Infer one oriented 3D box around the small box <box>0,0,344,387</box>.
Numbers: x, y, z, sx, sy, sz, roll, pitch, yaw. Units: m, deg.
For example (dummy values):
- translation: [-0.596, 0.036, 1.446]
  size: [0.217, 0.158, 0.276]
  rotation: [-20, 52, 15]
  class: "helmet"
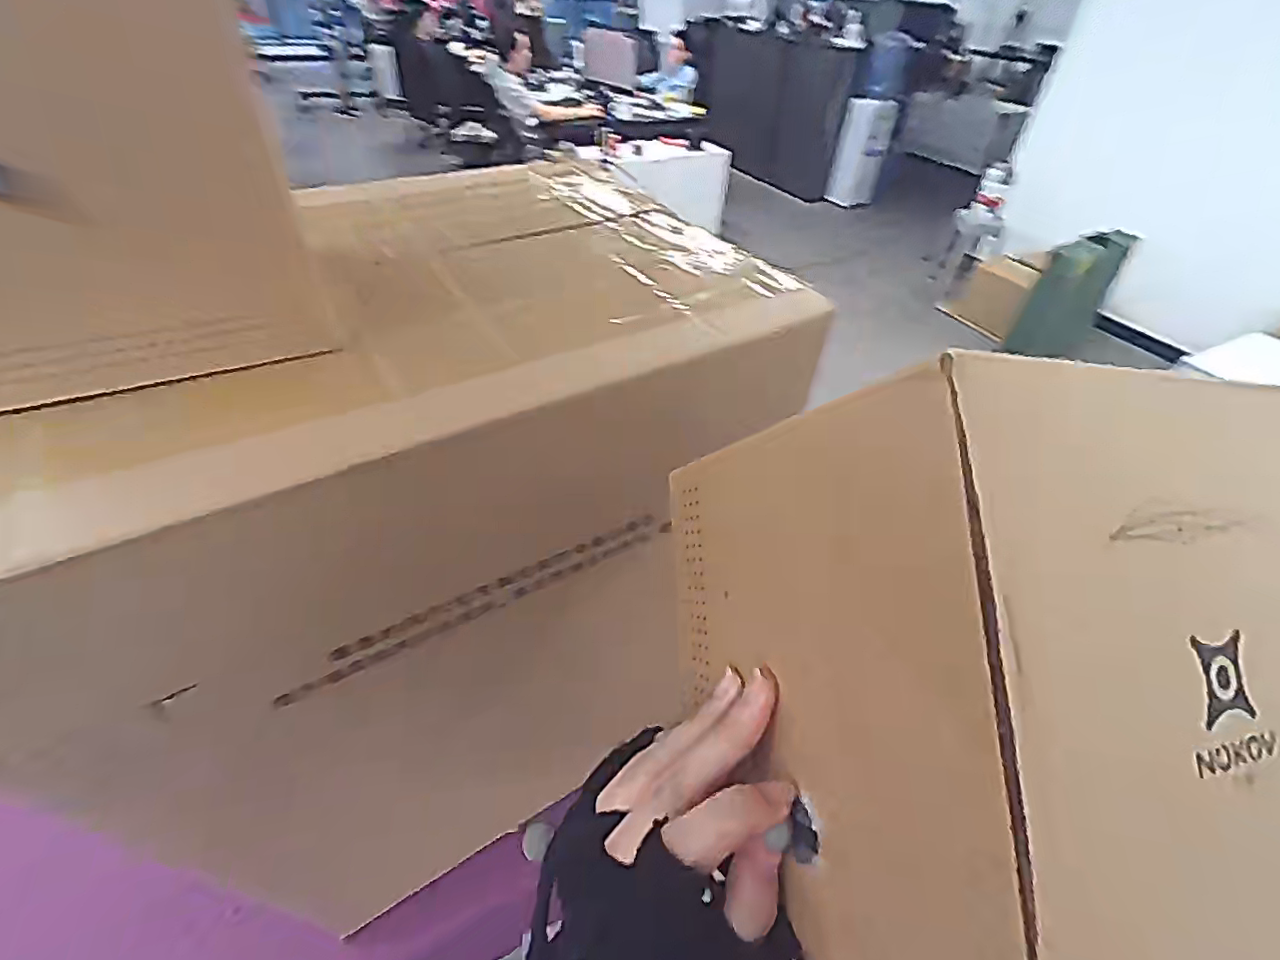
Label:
- translation: [-0.273, -0.163, 0.260]
  size: [0.179, 0.176, 0.168]
  rotation: [-20, 49, -23]
  class: "small box"
